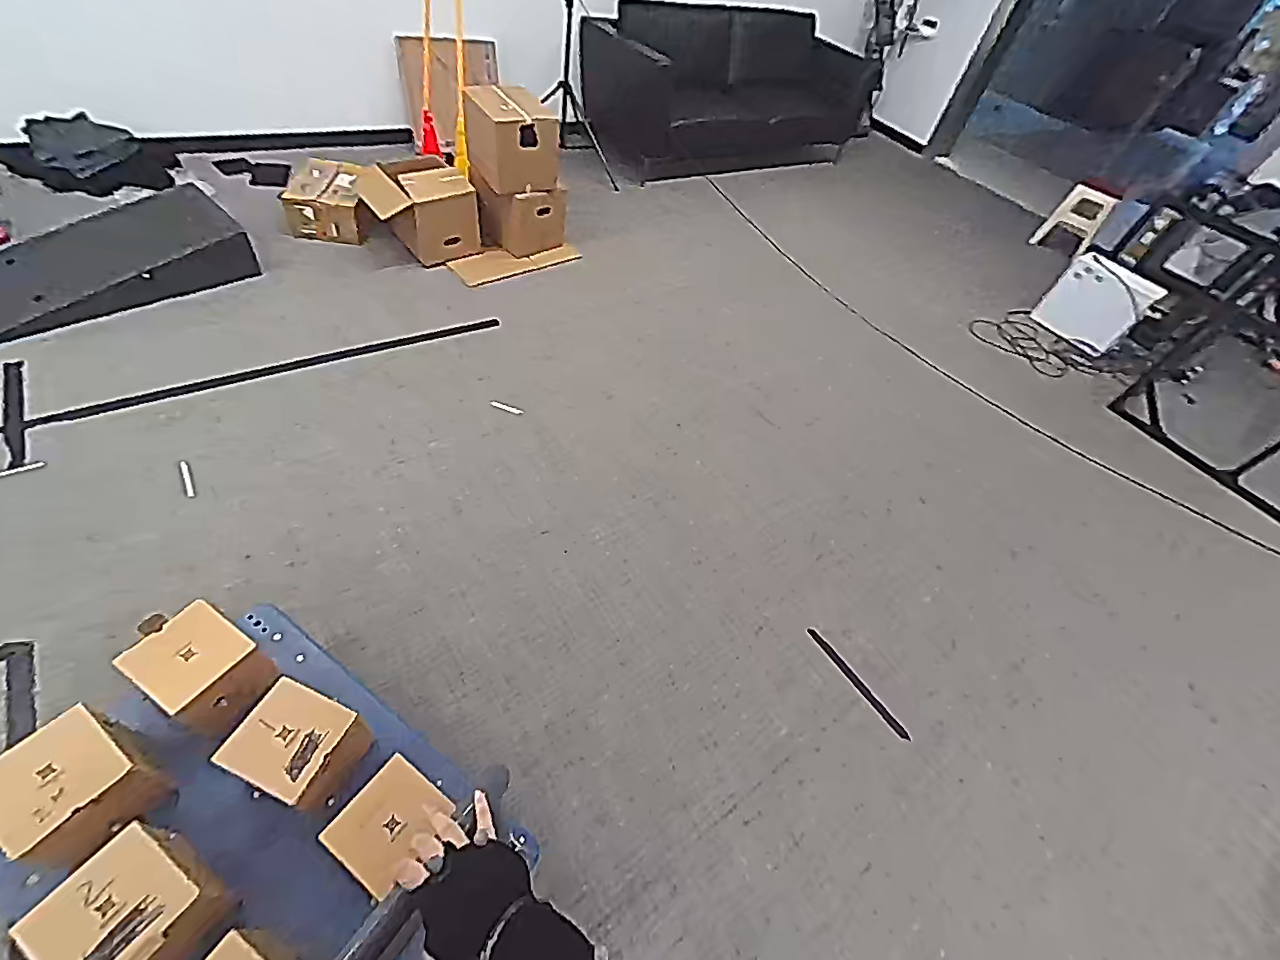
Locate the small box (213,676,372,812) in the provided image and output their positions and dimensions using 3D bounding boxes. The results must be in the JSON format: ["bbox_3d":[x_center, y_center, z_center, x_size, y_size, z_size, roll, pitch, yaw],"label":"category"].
[{"bbox_3d":[-0.654,0.516,1.047,0.179,0.176,0.168,23,49,6],"label":"small box"}]

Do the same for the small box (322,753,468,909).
[{"bbox_3d":[-0.436,0.645,0.995,0.179,0.176,0.168,33,50,14],"label":"small box"}]

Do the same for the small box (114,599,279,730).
[{"bbox_3d":[-0.886,0.383,1.101,0.179,0.176,0.168,30,51,12],"label":"small box"}]

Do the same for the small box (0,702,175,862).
[{"bbox_3d":[-0.982,0.533,0.948,0.179,0.176,0.168,35,51,14],"label":"small box"}]

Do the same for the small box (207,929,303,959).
[{"bbox_3d":[-0.594,0.816,0.809,0.179,0.176,0.168,30,49,11],"label":"small box"}]
